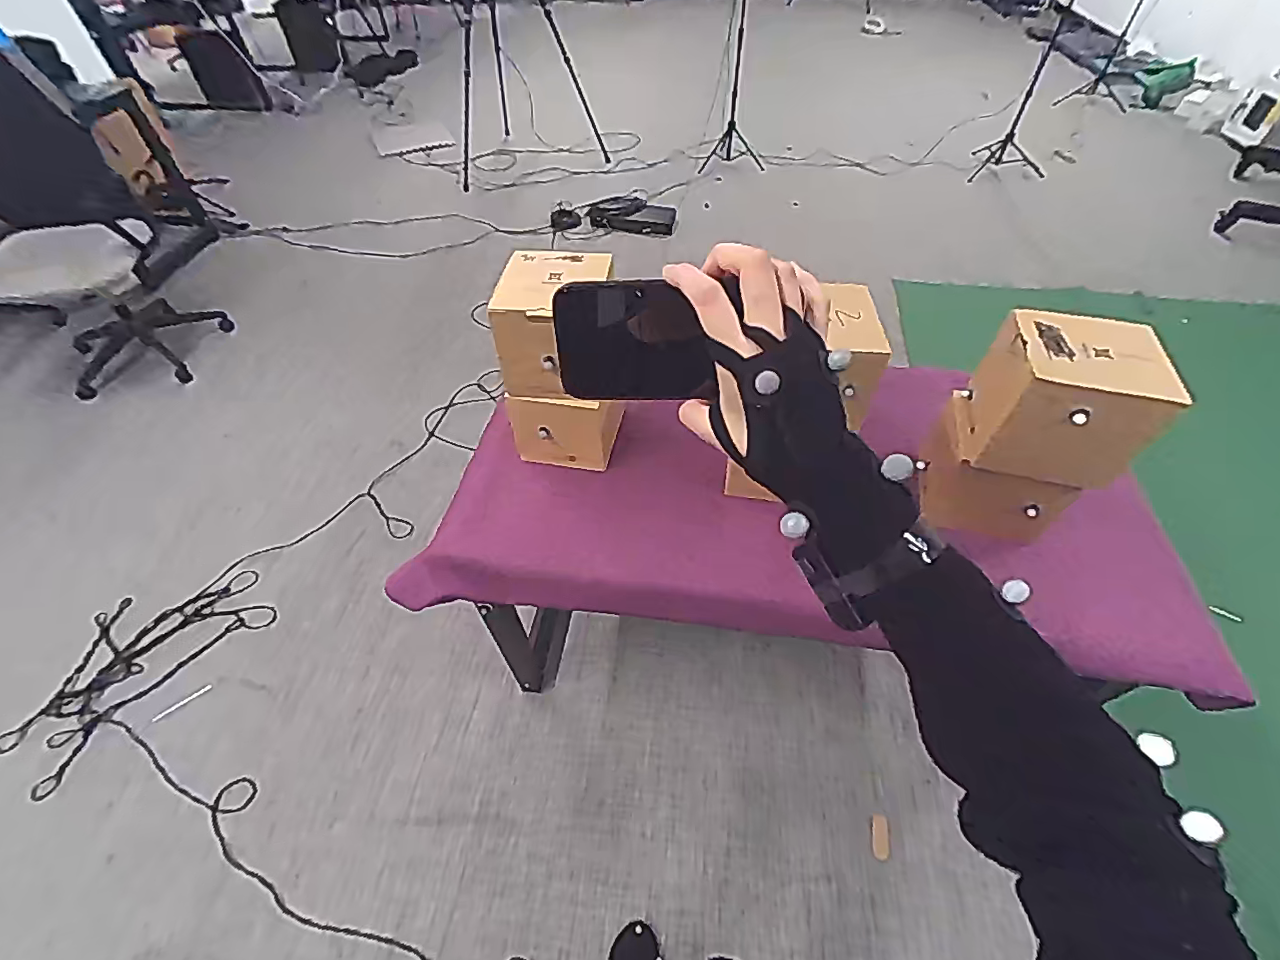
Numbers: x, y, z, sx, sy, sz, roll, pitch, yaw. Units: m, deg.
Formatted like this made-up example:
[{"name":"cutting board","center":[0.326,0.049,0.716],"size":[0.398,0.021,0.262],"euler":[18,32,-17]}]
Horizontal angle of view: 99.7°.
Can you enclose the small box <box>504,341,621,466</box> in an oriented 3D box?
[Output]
[{"name":"small box","center":[-0.132,-0.148,1.012],"size":[0.168,0.176,0.179],"euler":[9,51,8]}]

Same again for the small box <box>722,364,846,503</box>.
[{"name":"small box","center":[0.247,-0.078,0.949],"size":[0.179,0.176,0.168],"euler":[8,51,7]}]

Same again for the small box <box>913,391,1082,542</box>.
[{"name":"small box","center":[0.578,-0.019,0.899],"size":[0.179,0.176,0.168],"euler":[13,52,11]}]

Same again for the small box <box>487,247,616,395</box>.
[{"name":"small box","center":[-0.132,-0.258,0.890],"size":[0.168,0.176,0.179],"euler":[5,52,4]}]

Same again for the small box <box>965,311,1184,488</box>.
[{"name":"small box","center":[0.583,-0.110,0.762],"size":[0.179,0.176,0.168],"euler":[13,52,10]}]
